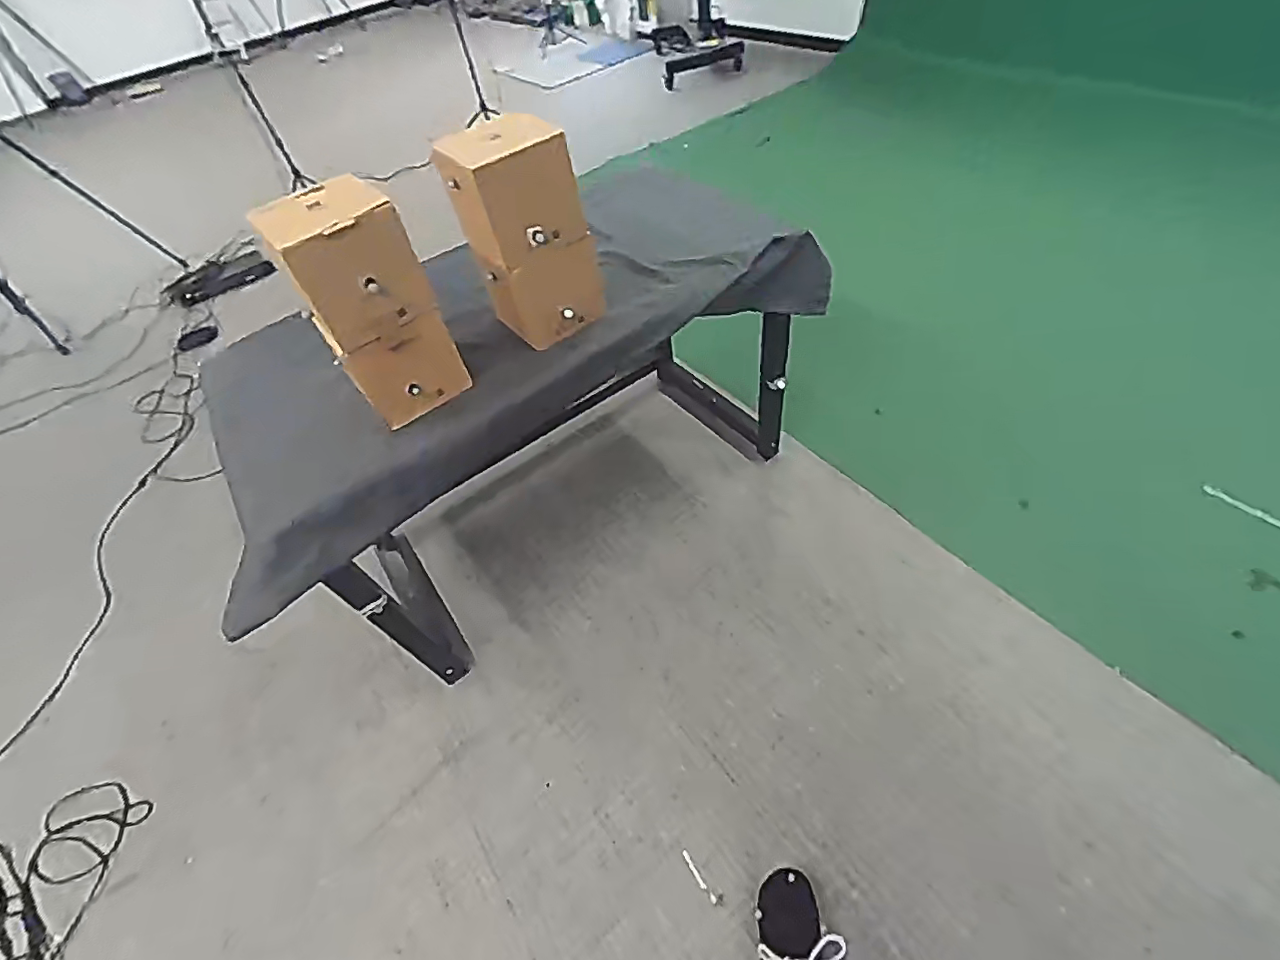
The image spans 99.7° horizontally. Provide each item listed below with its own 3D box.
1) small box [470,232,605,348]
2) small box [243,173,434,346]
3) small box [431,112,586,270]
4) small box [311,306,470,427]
[{"bbox_3d":[-0.190,-0.381,1.030,0.168,0.176,0.179,-35,54,-18],"label":"small box"},{"bbox_3d":[-0.445,-0.328,0.820,0.168,0.176,0.179,-37,56,-20],"label":"small box"},{"bbox_3d":[-0.214,-0.481,0.905,0.168,0.176,0.179,-34,54,-16],"label":"small box"},{"bbox_3d":[-0.430,-0.224,0.946,0.168,0.176,0.179,-36,55,-19],"label":"small box"}]
